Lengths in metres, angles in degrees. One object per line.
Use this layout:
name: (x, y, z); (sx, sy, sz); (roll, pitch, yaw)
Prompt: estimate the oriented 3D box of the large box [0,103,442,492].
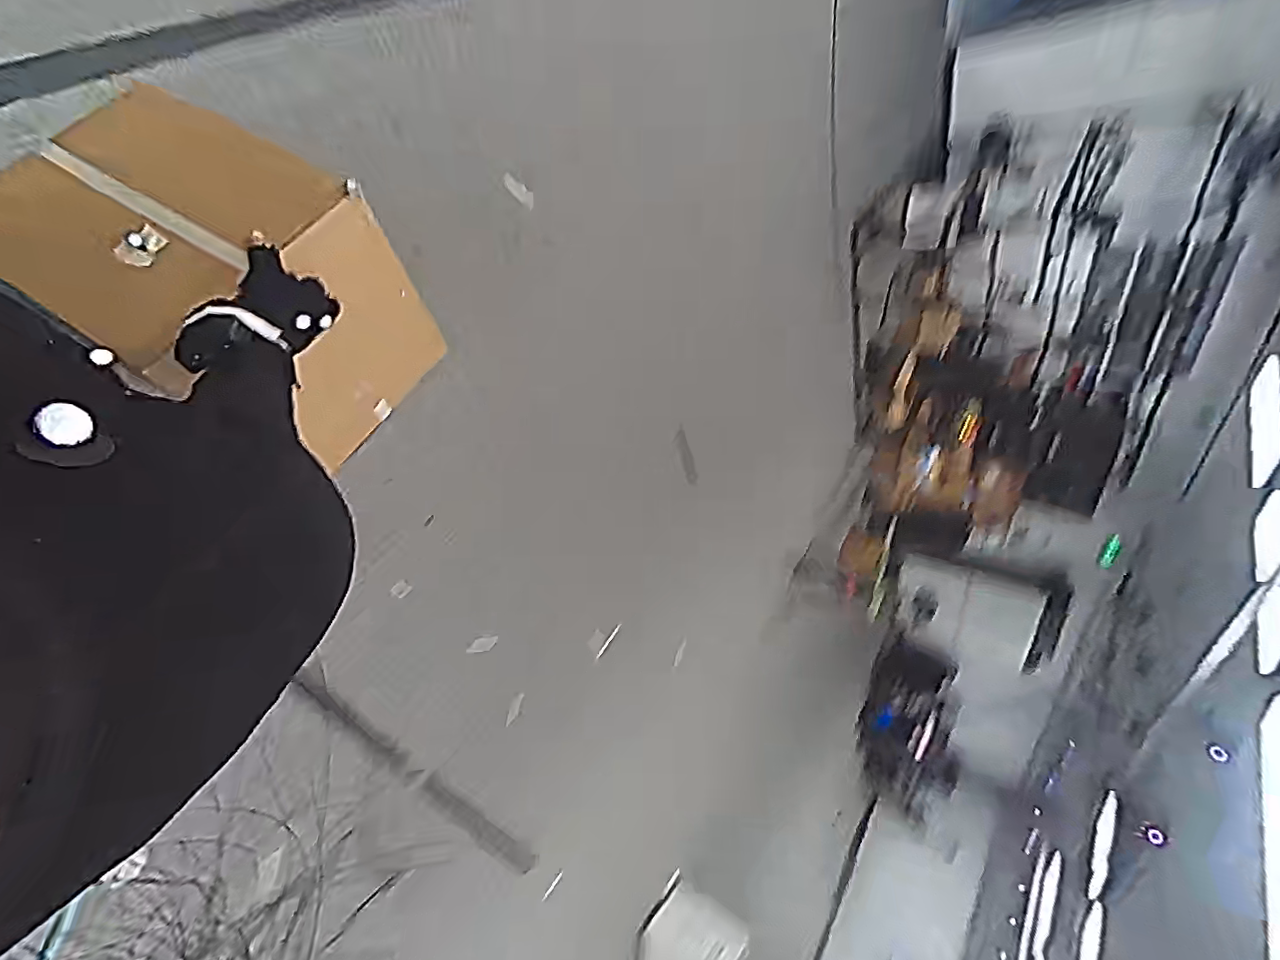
large box: (-0.581, -0.248, 0.784); (0.320, 0.408, 0.320); (-55, 166, -18)
